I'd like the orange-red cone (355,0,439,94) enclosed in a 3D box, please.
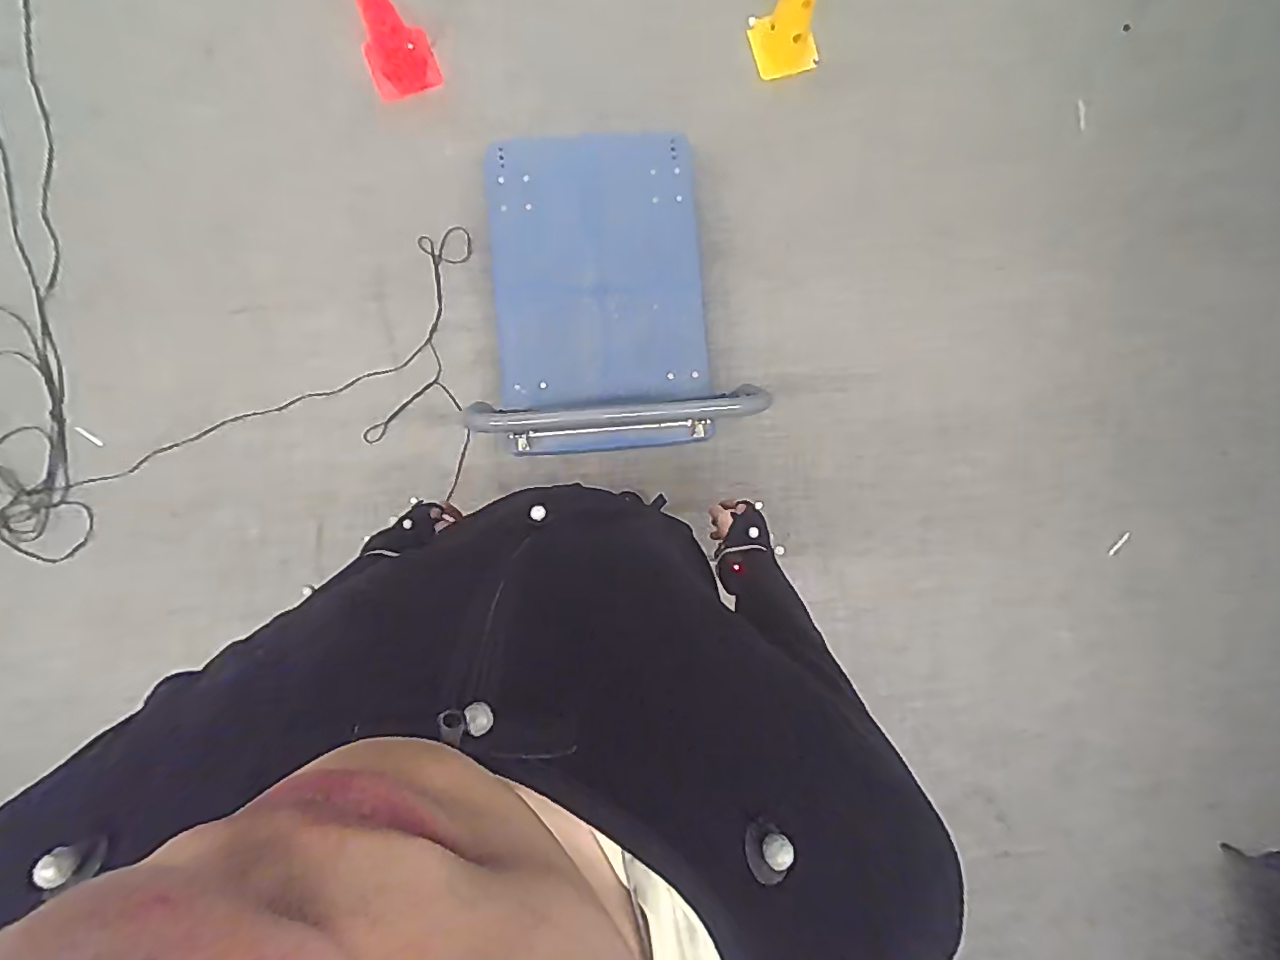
[{"bbox_3d":[-0.721,-1.286,1.468,0.199,0.360,0.198,-20,89,-2],"label":"orange-red cone"}]
